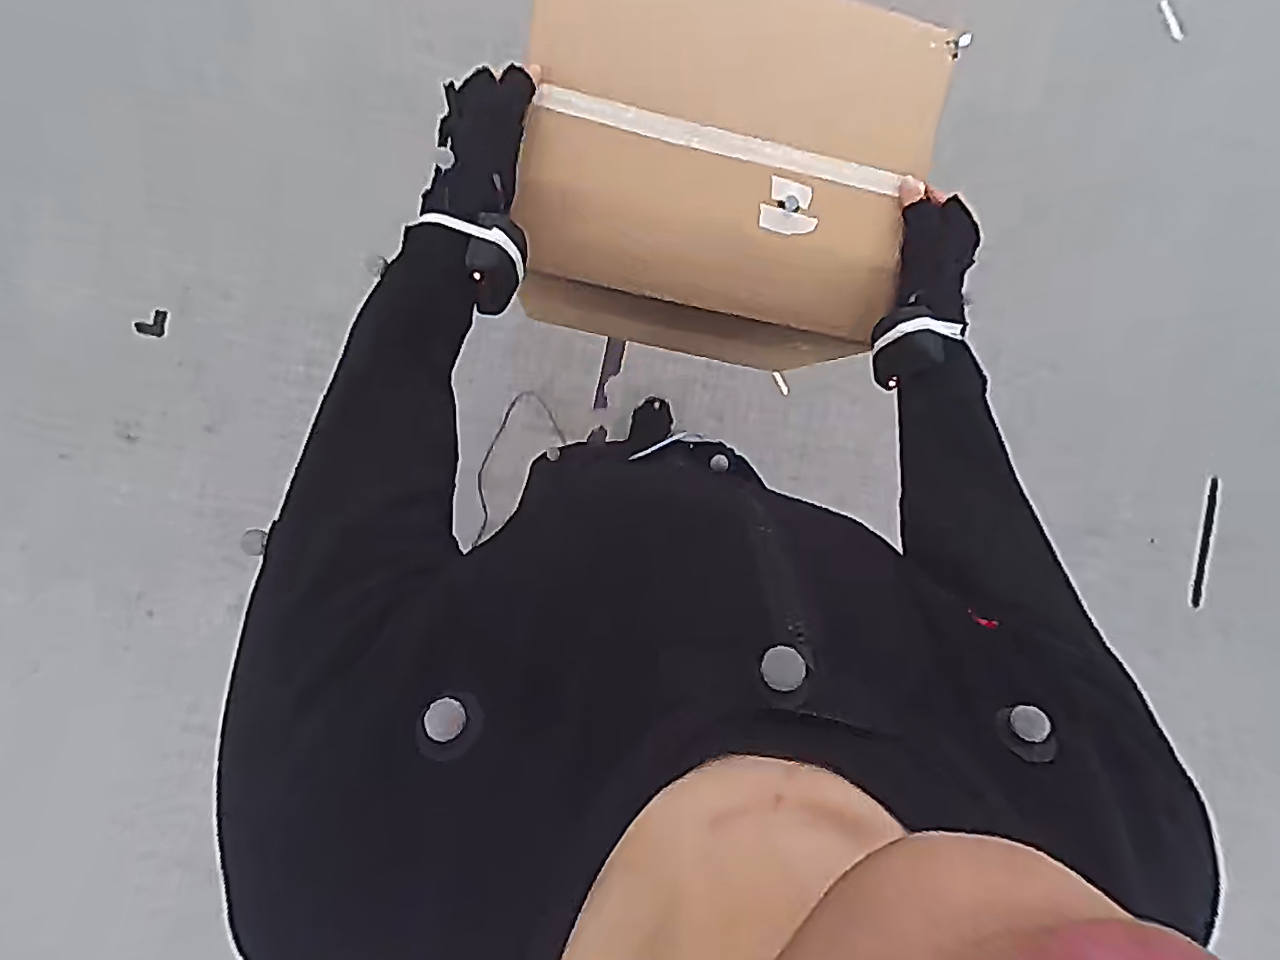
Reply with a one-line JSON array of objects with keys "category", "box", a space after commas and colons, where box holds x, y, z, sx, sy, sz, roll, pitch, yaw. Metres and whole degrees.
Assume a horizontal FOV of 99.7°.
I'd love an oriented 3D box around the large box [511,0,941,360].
[{"category": "large box", "box": [0.071, -0.353, 0.683, 0.408, 0.320, 0.320, 9, 96, -8]}]
